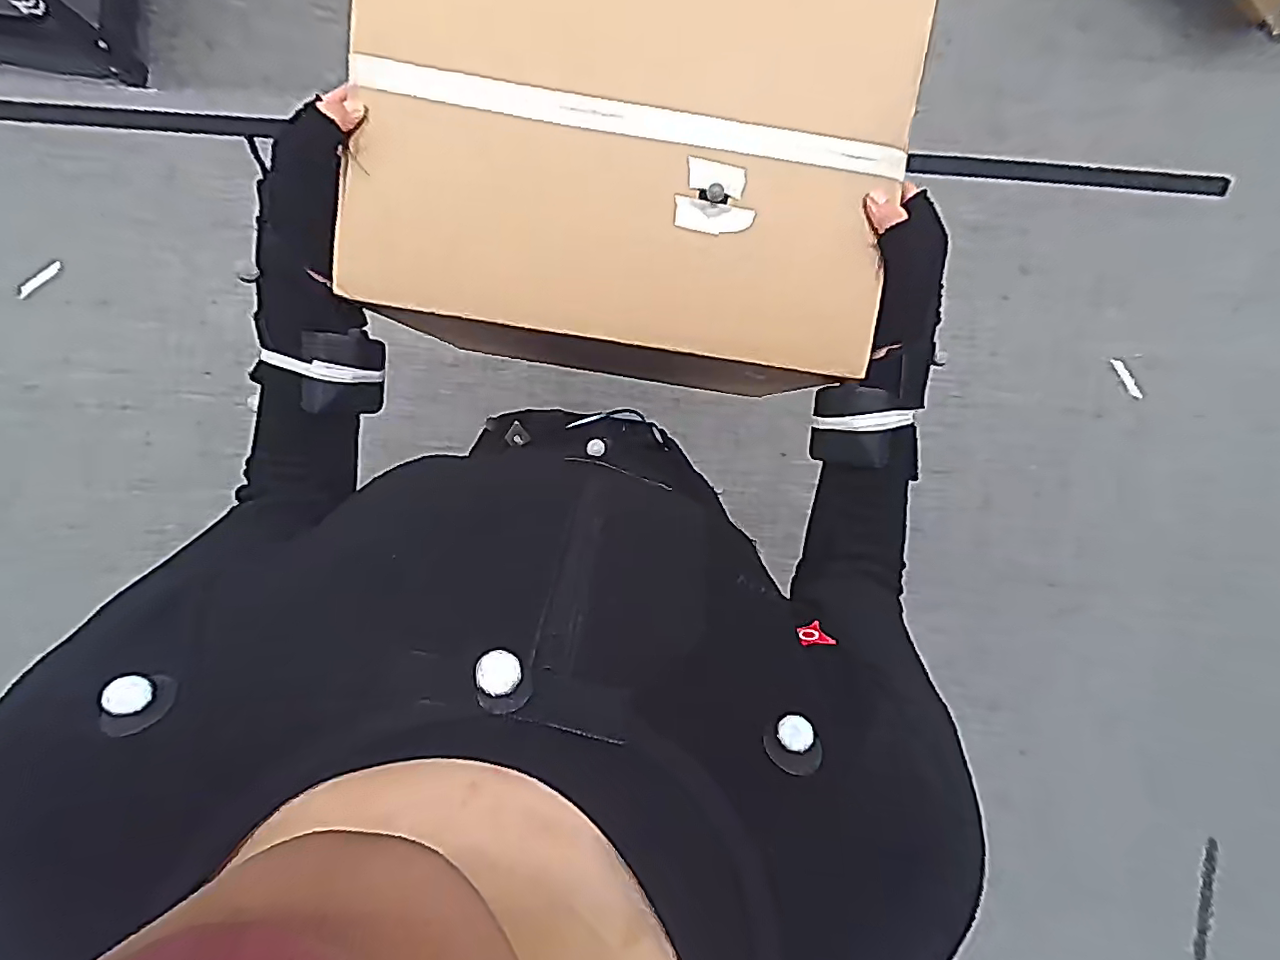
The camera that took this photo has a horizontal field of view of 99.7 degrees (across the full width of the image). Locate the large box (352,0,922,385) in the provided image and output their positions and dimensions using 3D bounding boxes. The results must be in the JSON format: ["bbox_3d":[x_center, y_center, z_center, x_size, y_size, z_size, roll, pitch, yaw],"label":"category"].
[{"bbox_3d":[-0.011,-0.284,0.550,0.408,0.320,0.320,8,97,-4],"label":"large box"}]
